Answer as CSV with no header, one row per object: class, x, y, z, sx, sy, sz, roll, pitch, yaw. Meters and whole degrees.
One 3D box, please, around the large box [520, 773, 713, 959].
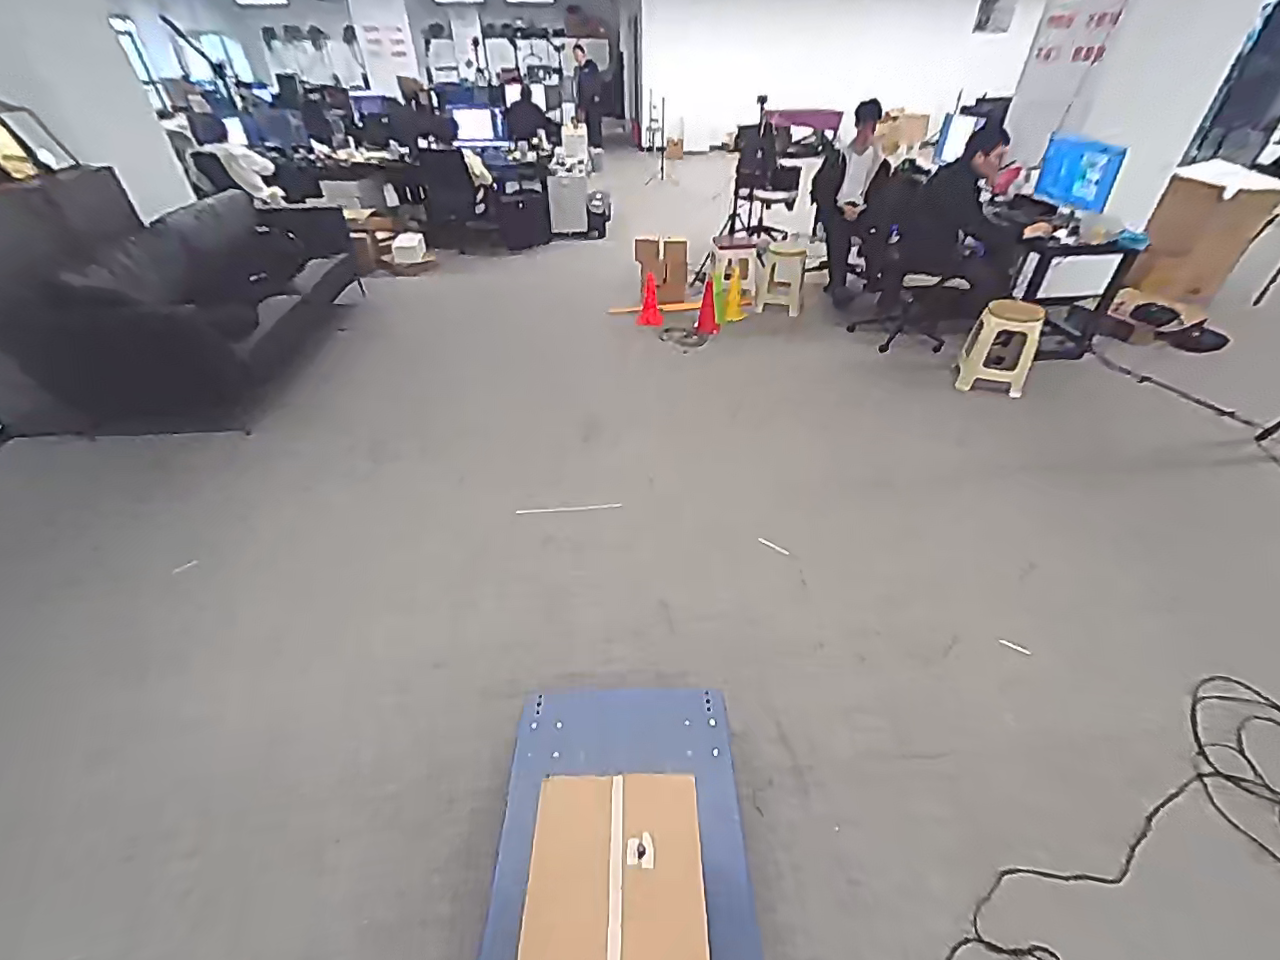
large box,-0.035,0.839,1.027,0.320,0.320,0.408,-1,37,0
